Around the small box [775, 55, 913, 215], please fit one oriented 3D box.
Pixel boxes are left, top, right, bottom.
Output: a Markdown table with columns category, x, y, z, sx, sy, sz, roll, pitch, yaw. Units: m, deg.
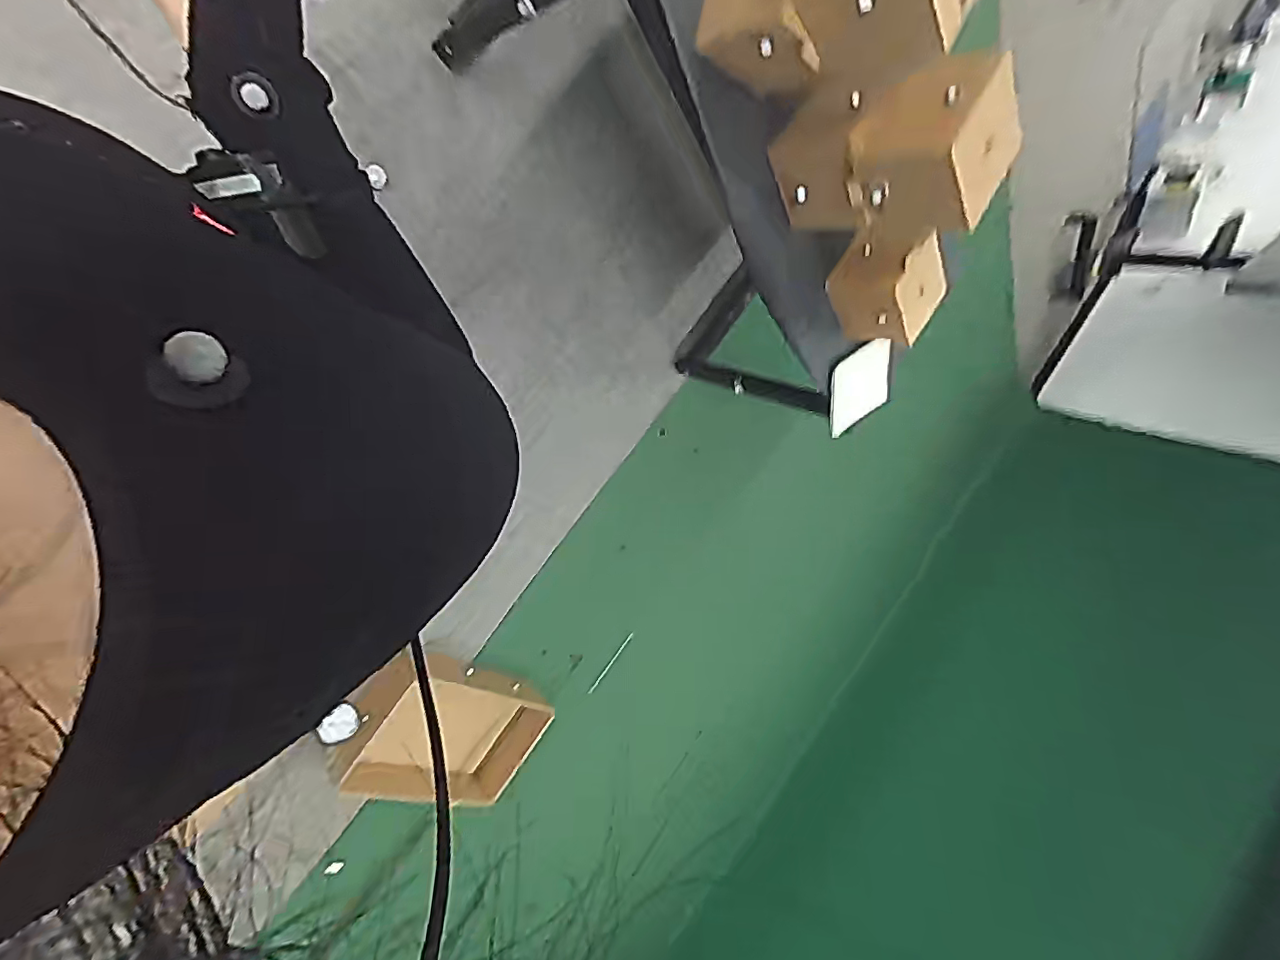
| category | x | y | z | sx | sy | sz | roll | pitch | yaw |
| --- | --- | --- | --- | --- | --- | --- | --- | --- | --- |
| small box | 0.373 | -0.602 | 0.963 | 0.179 | 0.176 | 0.168 | -51 | 133 | -9 |

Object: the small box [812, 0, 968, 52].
| category | x | y | z | sx | sy | sz | roll | pitch | yaw |
| --- | --- | --- | --- | --- | --- | --- | --- | --- | --- |
| small box | 0.306 | -0.666 | 0.647 | 0.179 | 0.176 | 0.168 | 24 | 94 | -43 |

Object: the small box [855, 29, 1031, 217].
| category | x | y | z | sx | sy | sz | roll | pitch | yaw |
| --- | --- | --- | --- | --- | --- | --- | --- | --- | --- |
| small box | 0.473 | -0.543 | 0.849 | 0.168 | 0.176 | 0.179 | 32 | 89 | -43 |

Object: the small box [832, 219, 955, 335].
| category | x | y | z | sx | sy | sz | roll | pitch | yaw |
| --- | --- | --- | --- | --- | --- | --- | --- | --- | --- |
| small box | 0.556 | -0.450 | 1.192 | 0.168 | 0.176 | 0.179 | -54 | 133 | -7 |
